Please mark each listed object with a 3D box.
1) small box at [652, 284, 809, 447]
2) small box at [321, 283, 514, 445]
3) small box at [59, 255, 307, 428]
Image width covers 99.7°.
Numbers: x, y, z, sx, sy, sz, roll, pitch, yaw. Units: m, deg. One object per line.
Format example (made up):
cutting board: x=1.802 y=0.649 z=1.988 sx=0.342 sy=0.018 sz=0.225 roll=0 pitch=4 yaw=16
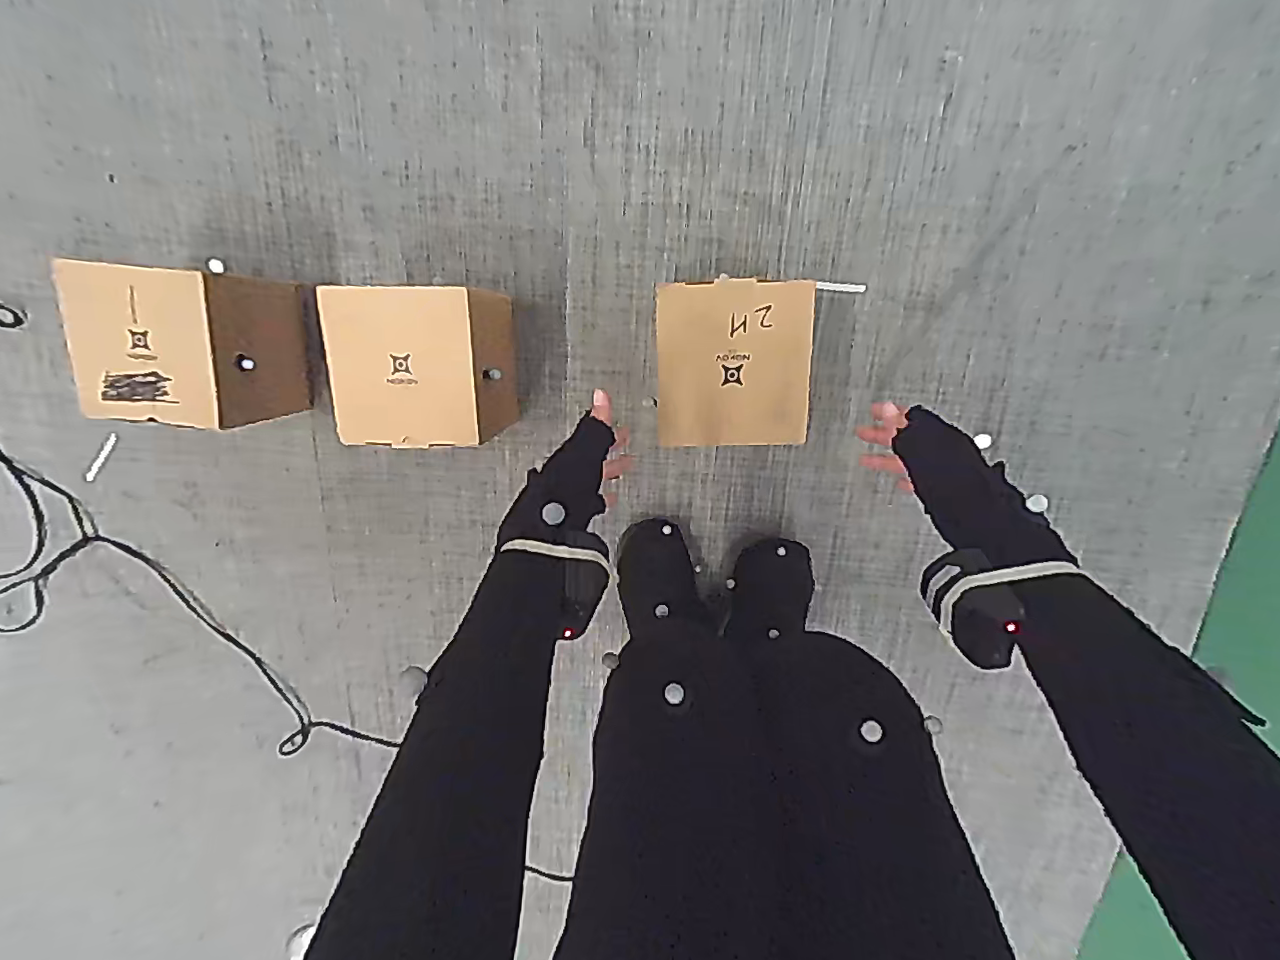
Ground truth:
small box: x=0.098 y=-0.145 z=0.665 sx=0.168 sy=0.176 sz=0.179 roll=-1 pitch=106 yaw=2
small box: x=-0.262 y=-0.148 z=0.680 sx=0.168 sy=0.176 sz=0.179 roll=1 pitch=107 yaw=2
small box: x=-0.551 y=-0.173 z=0.682 sx=0.168 sy=0.176 sz=0.179 roll=6 pitch=106 yaw=0
